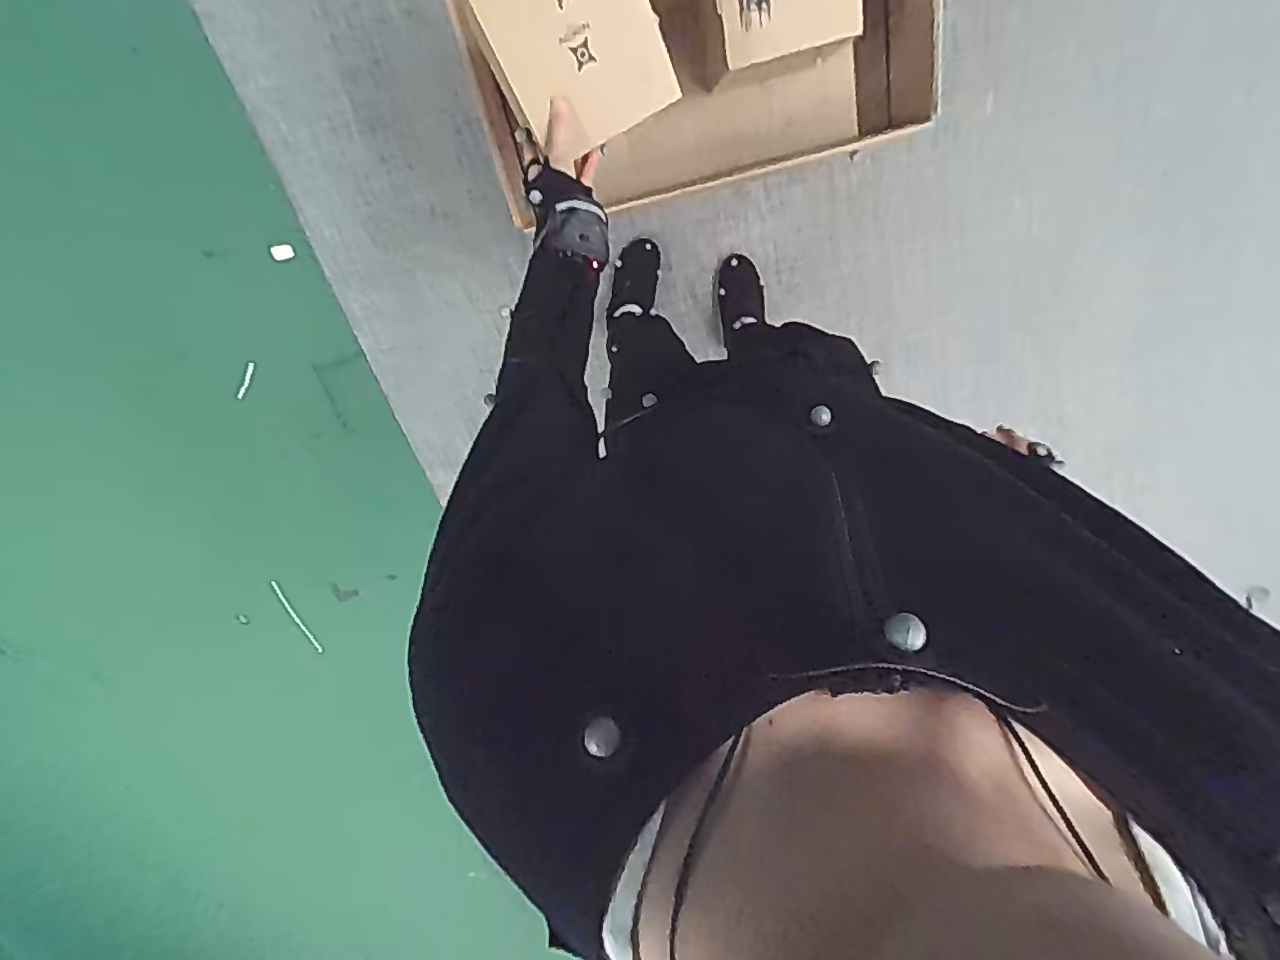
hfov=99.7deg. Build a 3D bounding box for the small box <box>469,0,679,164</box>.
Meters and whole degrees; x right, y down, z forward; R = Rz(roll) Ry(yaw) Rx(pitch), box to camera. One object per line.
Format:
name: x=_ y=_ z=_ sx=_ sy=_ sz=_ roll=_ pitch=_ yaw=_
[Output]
small box: x=-0.078 y=-0.490 z=0.620 sx=0.168 sy=0.176 sz=0.179 roll=-28 pitch=120 yaw=1
